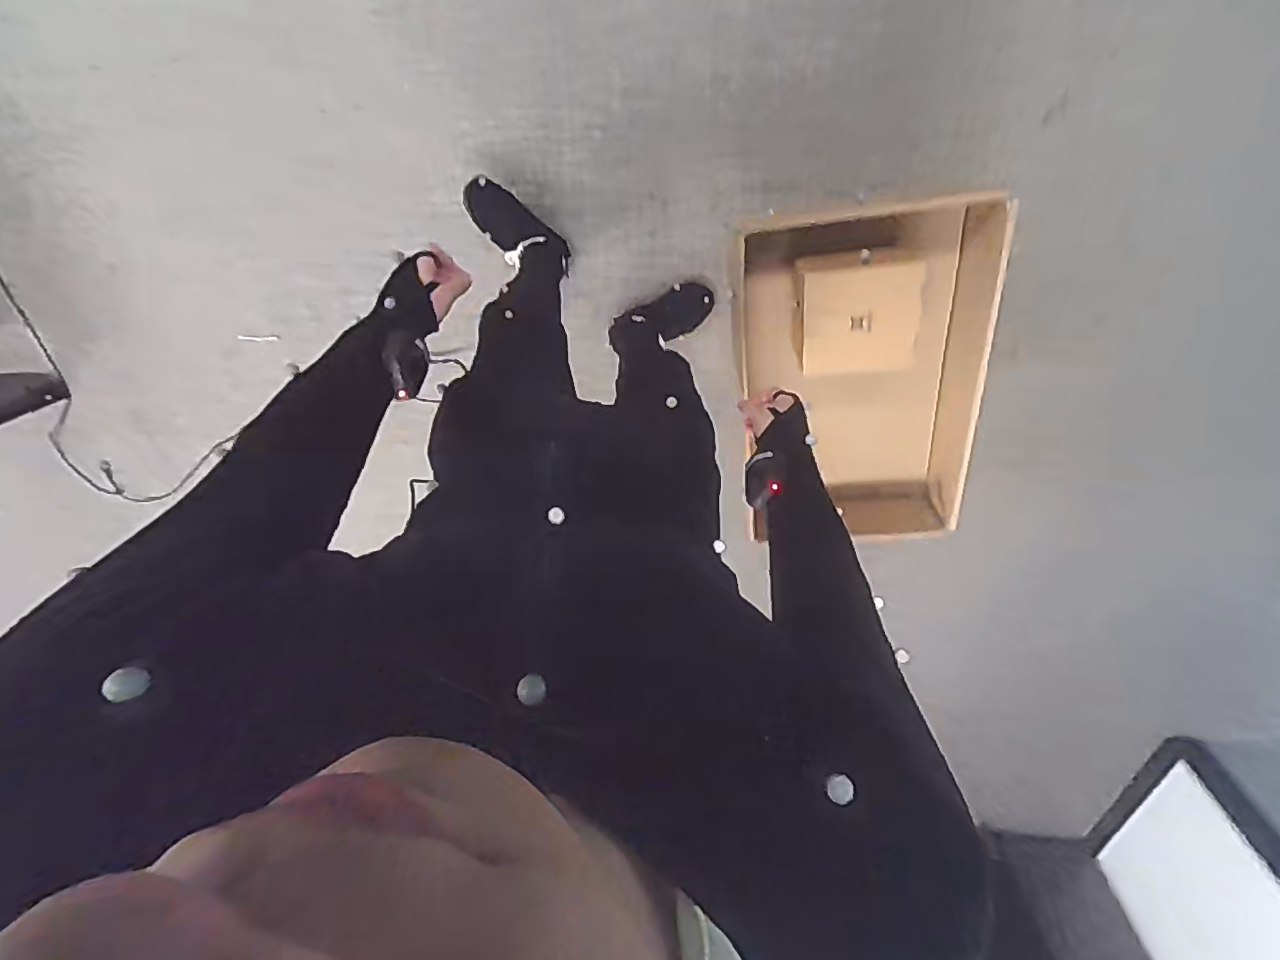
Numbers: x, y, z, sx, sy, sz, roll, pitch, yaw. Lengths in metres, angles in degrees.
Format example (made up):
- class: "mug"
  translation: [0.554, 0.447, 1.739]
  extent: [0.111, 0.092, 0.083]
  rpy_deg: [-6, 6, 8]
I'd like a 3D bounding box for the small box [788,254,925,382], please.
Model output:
- class: "small box"
  translation: [0.348, -0.275, 0.910]
  extent: [0.179, 0.176, 0.168]
  rpy_deg: [-4, 120, 7]
